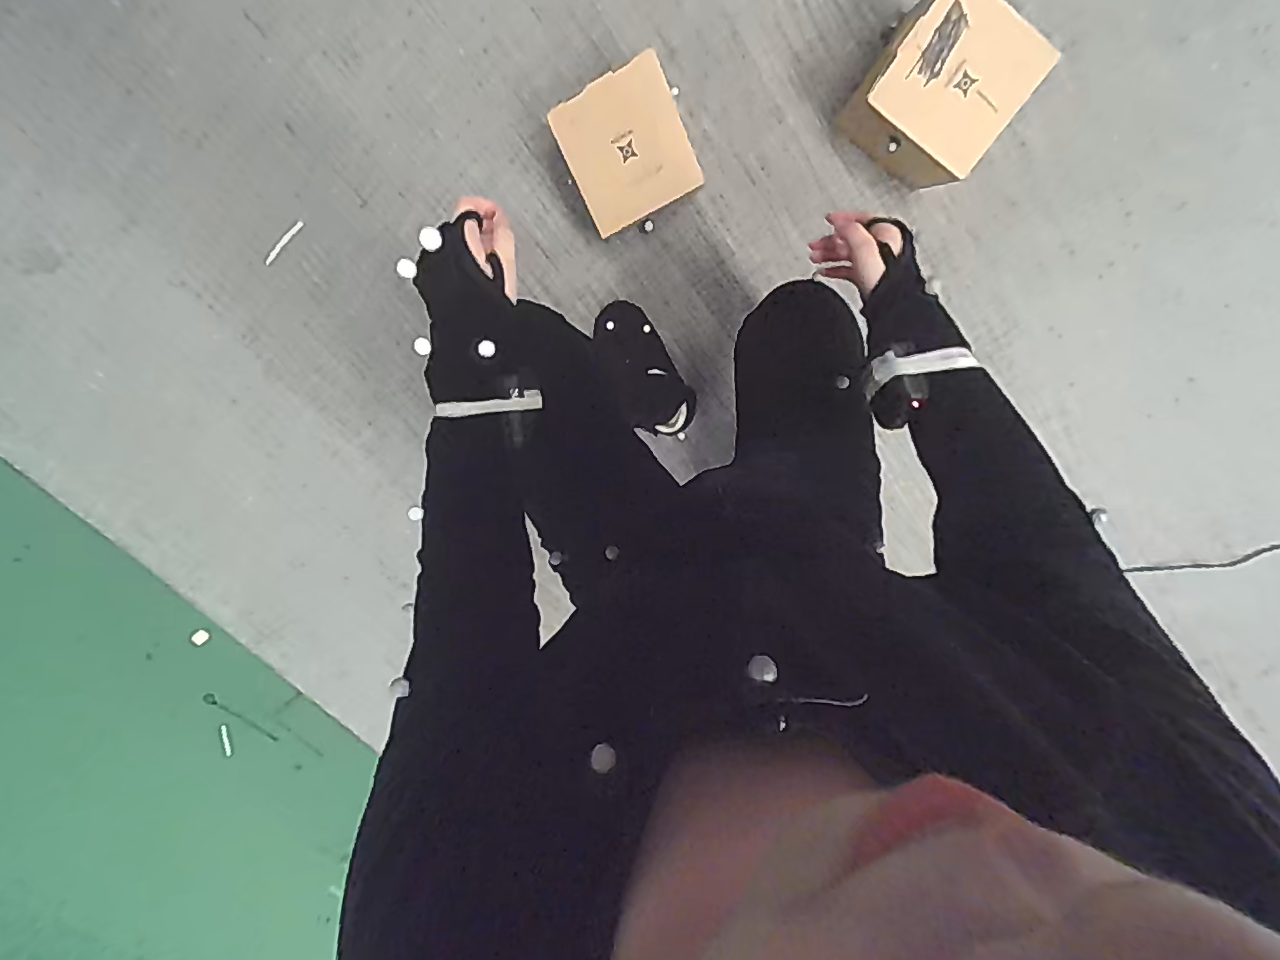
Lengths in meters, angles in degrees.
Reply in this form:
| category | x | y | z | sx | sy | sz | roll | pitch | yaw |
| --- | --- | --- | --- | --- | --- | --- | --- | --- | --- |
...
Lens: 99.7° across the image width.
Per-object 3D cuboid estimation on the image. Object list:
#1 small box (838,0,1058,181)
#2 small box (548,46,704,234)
| category | x | y | z | sx | sy | sz | roll | pitch | yaw |
| --- | --- | --- | --- | --- | --- | --- | --- | --- | --- |
| small box | 0.411 | -0.547 | 0.760 | 0.179 | 0.176 | 0.168 | 31 | 113 | -10 |
| small box | -0.014 | -0.491 | 0.815 | 0.168 | 0.176 | 0.179 | -22 | 110 | 13 |
